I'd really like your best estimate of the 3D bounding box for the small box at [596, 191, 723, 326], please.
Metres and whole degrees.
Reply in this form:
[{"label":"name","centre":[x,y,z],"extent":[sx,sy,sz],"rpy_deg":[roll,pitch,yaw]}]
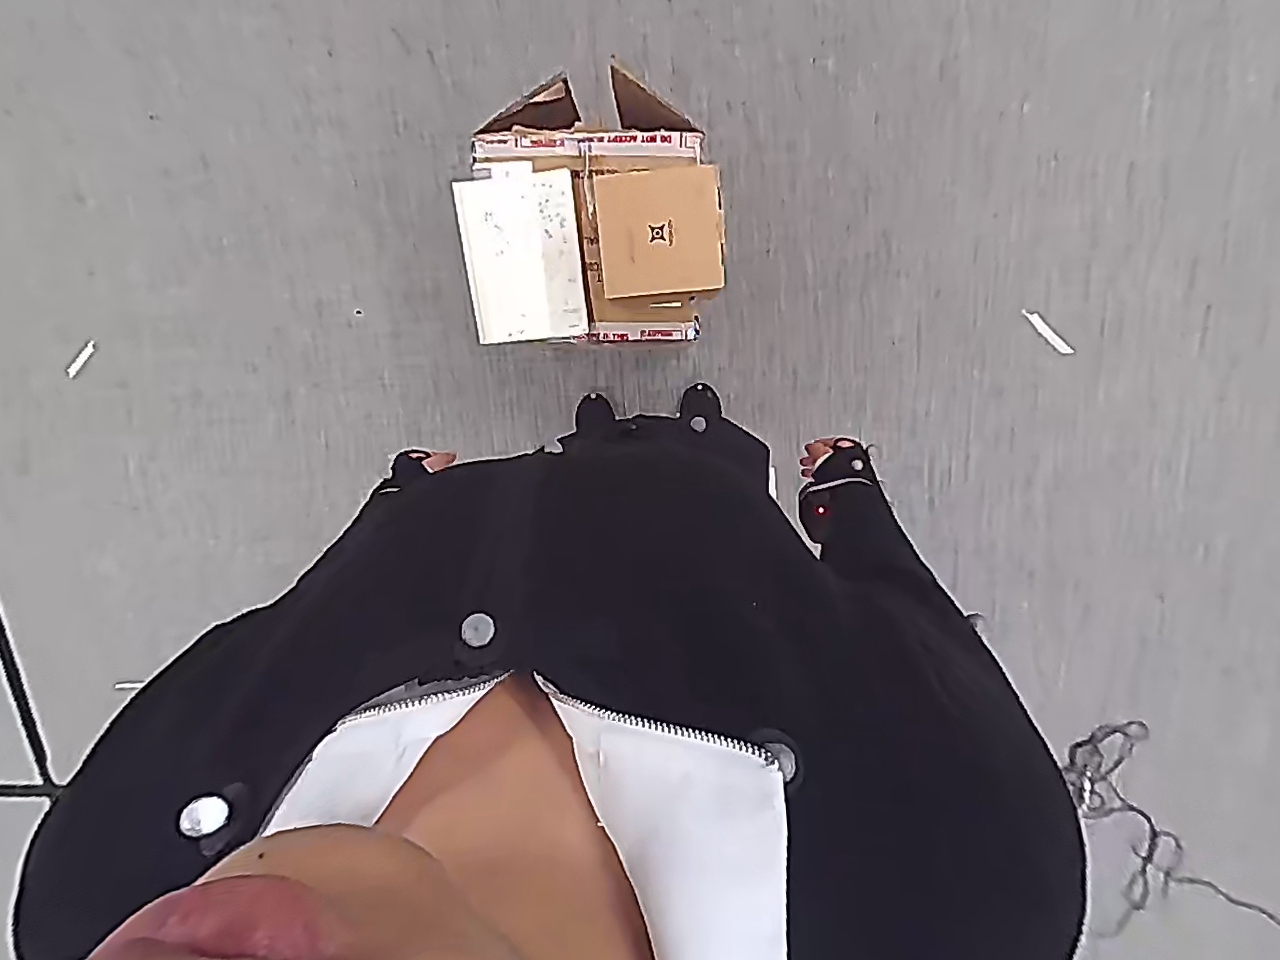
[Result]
[{"label":"small box","centre":[0.032,-0.341,0.862],"extent":[0.179,0.176,0.168],"rpy_deg":[-5,102,3]}]
